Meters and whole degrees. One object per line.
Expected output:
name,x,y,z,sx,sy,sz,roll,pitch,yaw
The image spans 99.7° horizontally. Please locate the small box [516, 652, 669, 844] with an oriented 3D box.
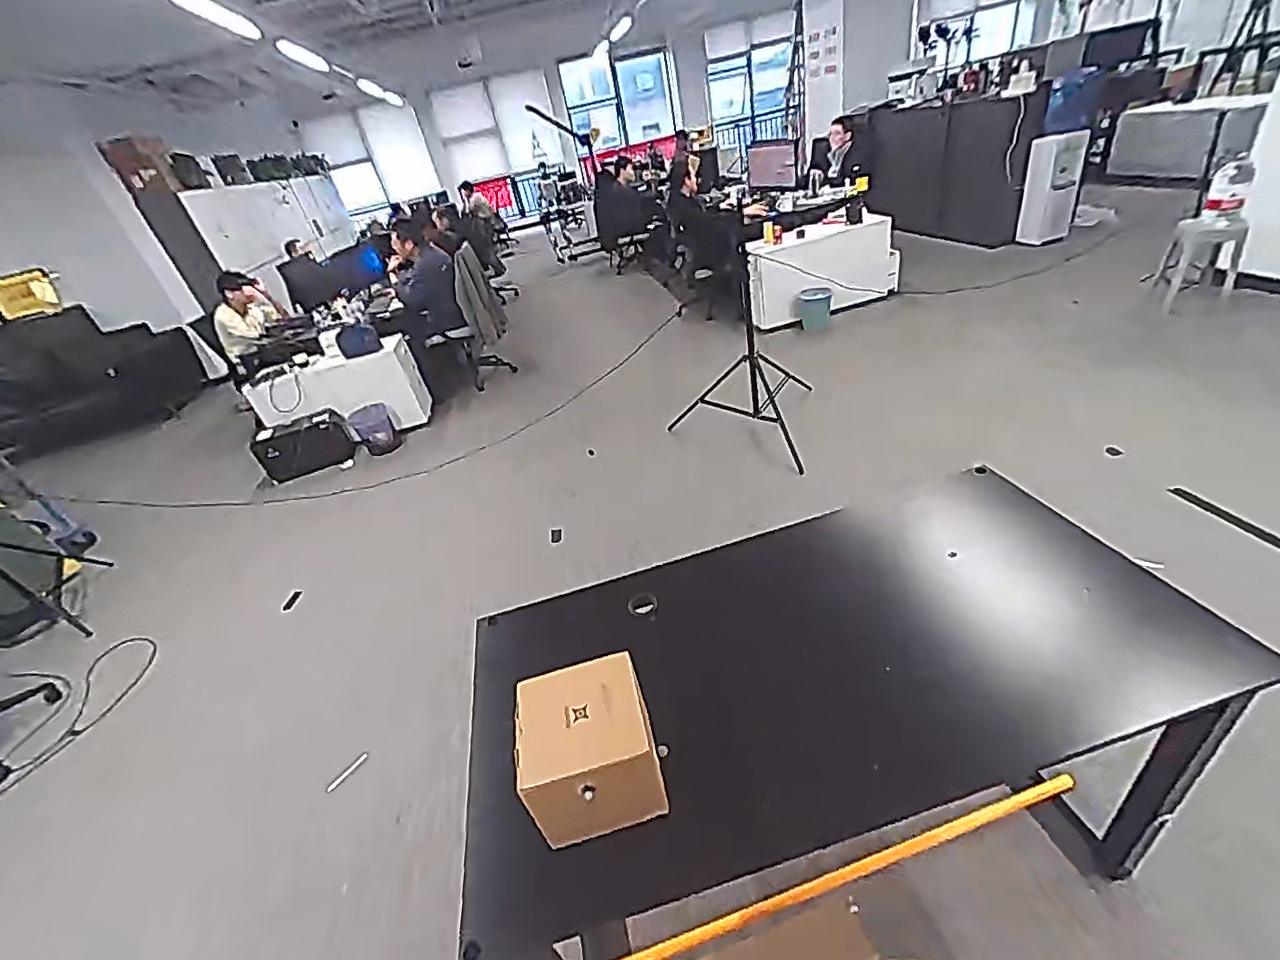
small box,-0.070,0.389,0.786,0.179,0.176,0.168,-15,34,-4
